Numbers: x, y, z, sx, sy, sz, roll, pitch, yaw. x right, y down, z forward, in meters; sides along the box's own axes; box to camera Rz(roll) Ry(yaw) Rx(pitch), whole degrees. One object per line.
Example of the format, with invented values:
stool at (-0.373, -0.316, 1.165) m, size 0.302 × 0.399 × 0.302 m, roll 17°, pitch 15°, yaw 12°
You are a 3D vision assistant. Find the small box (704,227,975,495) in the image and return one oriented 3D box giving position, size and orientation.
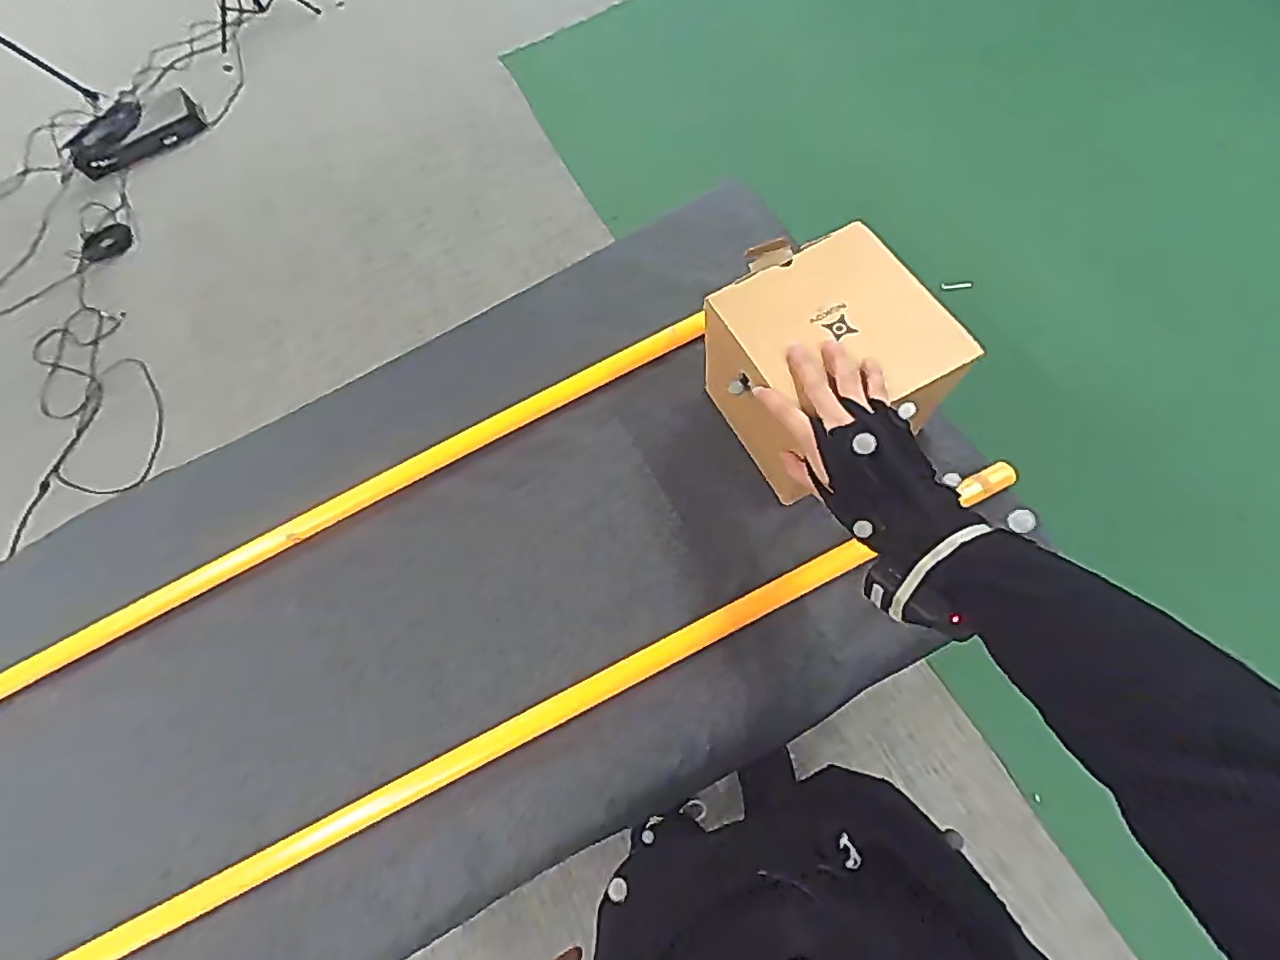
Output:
small box at (0.179, -0.103, 0.544) m, size 0.168 × 0.176 × 0.179 m, roll -28°, pitch 67°, yaw -3°
